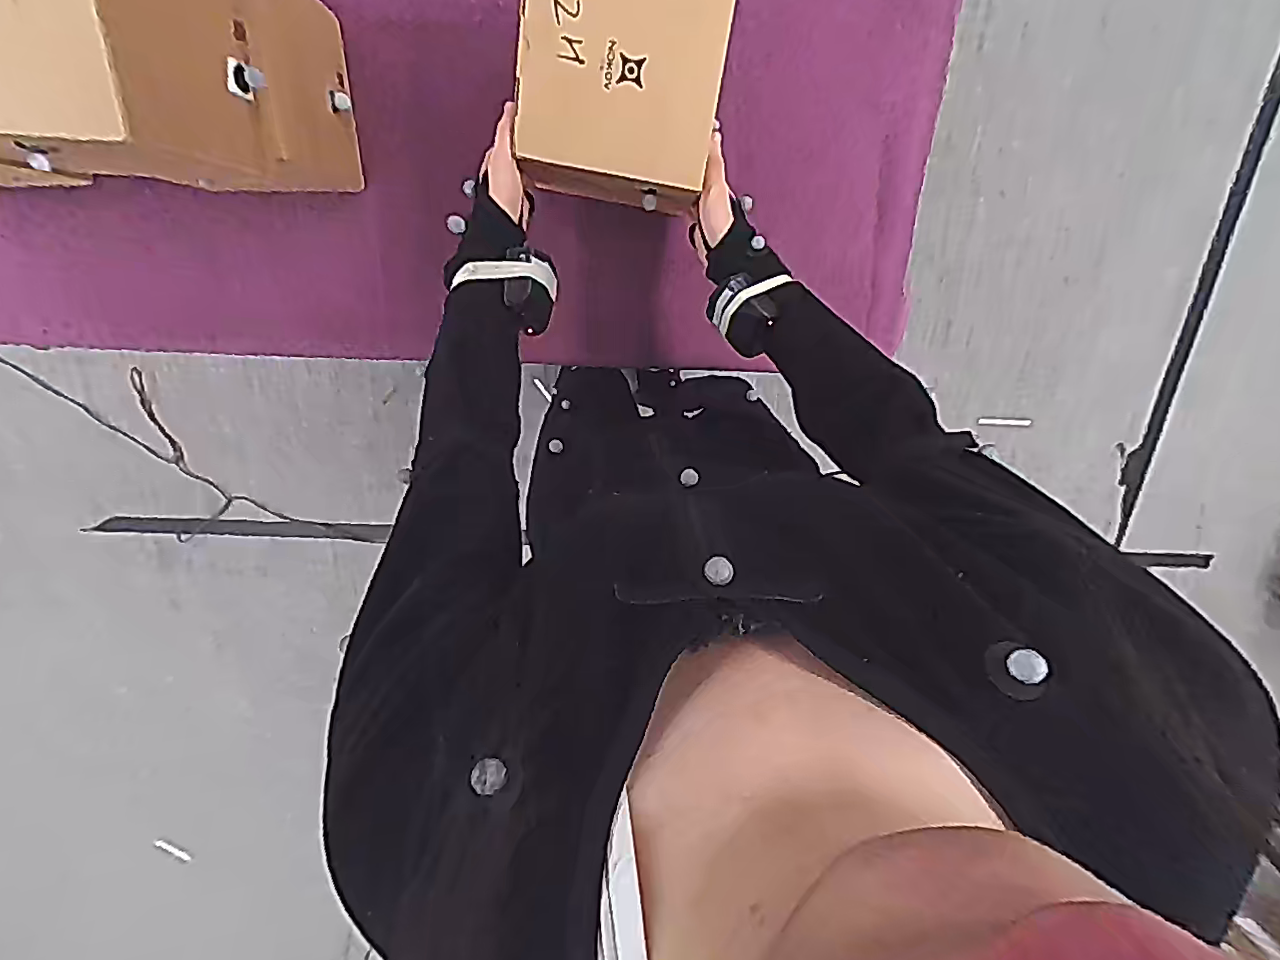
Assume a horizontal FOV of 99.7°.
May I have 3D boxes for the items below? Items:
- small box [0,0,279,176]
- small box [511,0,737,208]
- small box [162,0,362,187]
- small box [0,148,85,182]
[{"bbox_3d":[-0.396,-0.317,0.372,0.179,0.176,0.168,1,112,-4],"label":"small box"},{"bbox_3d":[-0.019,-0.381,0.537,0.179,0.176,0.168,8,109,-5],"label":"small box"},{"bbox_3d":[-0.402,-0.386,0.519,0.179,0.176,0.168,-1,110,-3],"label":"small box"},{"bbox_3d":[-0.696,-0.387,0.507,0.168,0.176,0.179,-2,110,-2],"label":"small box"}]
